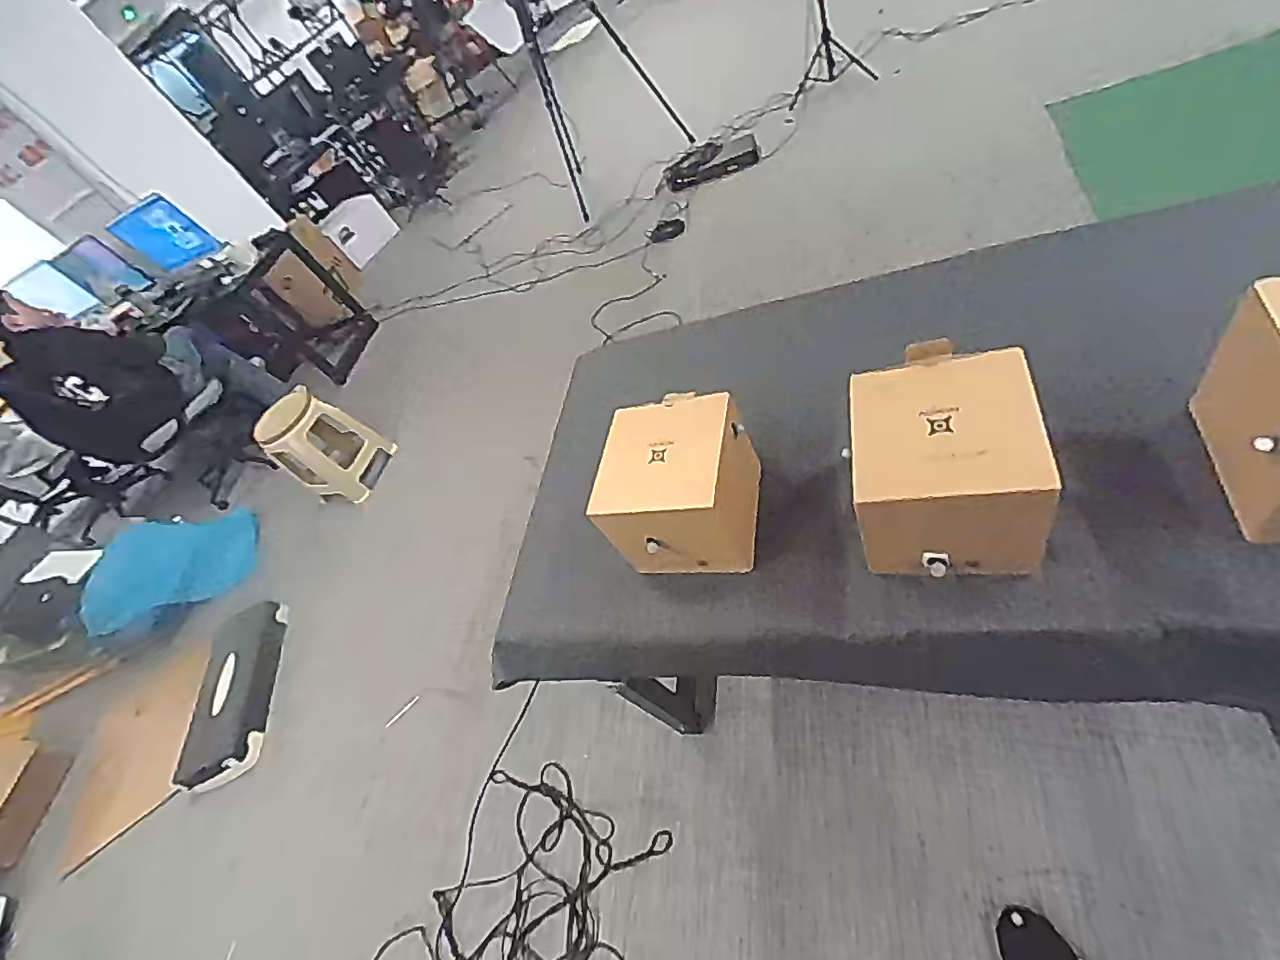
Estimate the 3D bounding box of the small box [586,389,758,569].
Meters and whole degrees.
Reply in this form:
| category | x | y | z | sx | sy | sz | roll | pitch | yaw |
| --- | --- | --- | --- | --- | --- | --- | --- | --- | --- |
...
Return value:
| category | x | y | z | sx | sy | sz | roll | pitch | yaw |
| --- | --- | --- | --- | --- | --- | --- | --- | --- | --- |
| small box | 0.054 | 0.009 | 0.722 | 0.168 | 0.176 | 0.179 | -6 | 52 | 26 |

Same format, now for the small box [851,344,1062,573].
| category | x | y | z | sx | sy | sz | roll | pitch | yaw |
| --- | --- | --- | --- | --- | --- | --- | --- | --- | --- |
| small box | 0.327 | -0.014 | 0.588 | 0.168 | 0.176 | 0.179 | -7 | 53 | 26 |
